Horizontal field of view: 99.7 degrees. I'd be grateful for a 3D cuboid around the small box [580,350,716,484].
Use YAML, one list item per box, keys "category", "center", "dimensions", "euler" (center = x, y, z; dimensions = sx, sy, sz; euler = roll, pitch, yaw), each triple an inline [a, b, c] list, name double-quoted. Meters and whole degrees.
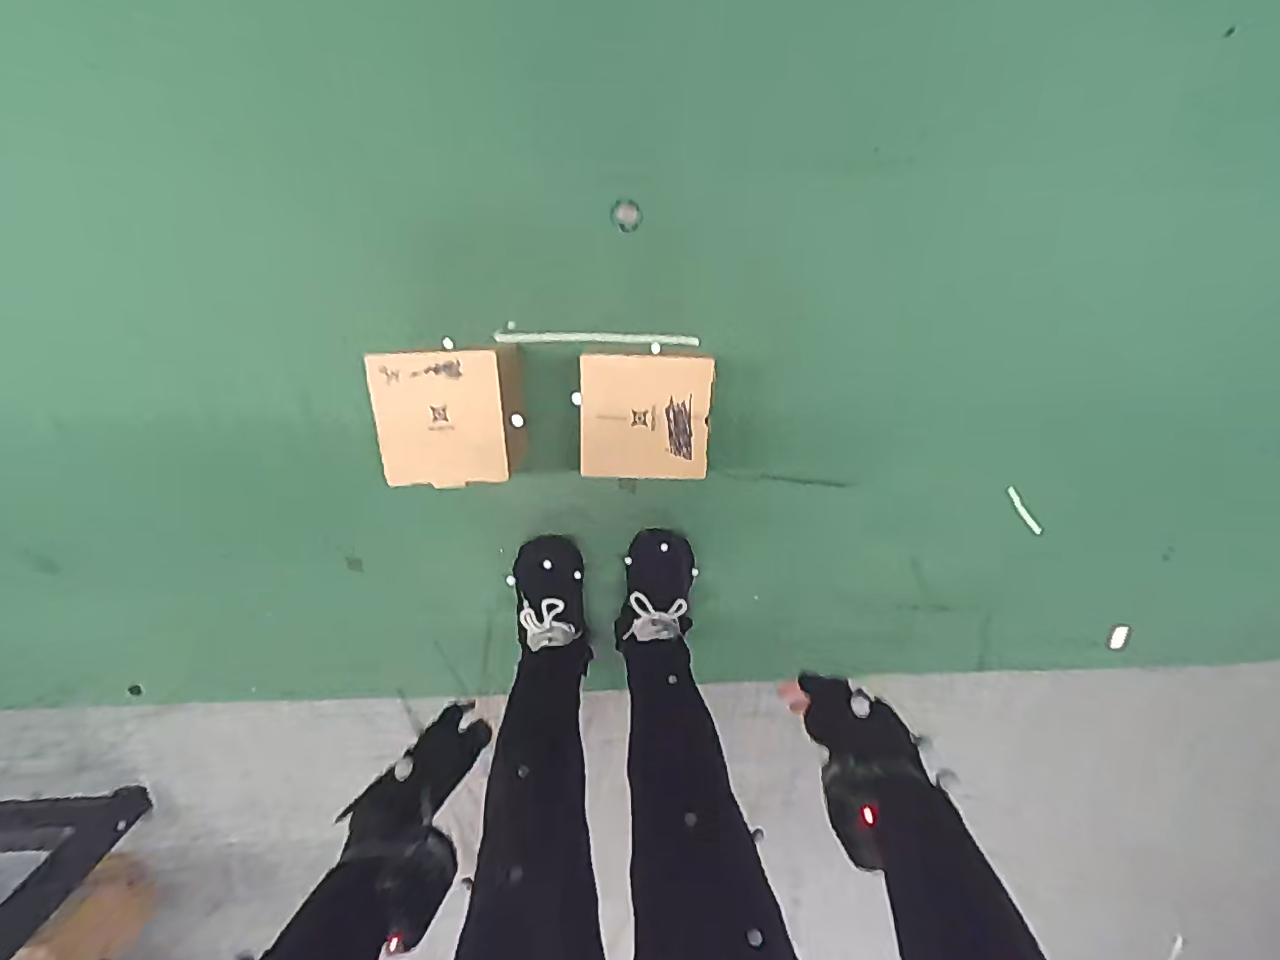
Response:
- category: "small box"
  center: [0.004, -0.099, 0.790]
  dimensions: [0.179, 0.176, 0.168]
  euler: [1, 107, -3]
